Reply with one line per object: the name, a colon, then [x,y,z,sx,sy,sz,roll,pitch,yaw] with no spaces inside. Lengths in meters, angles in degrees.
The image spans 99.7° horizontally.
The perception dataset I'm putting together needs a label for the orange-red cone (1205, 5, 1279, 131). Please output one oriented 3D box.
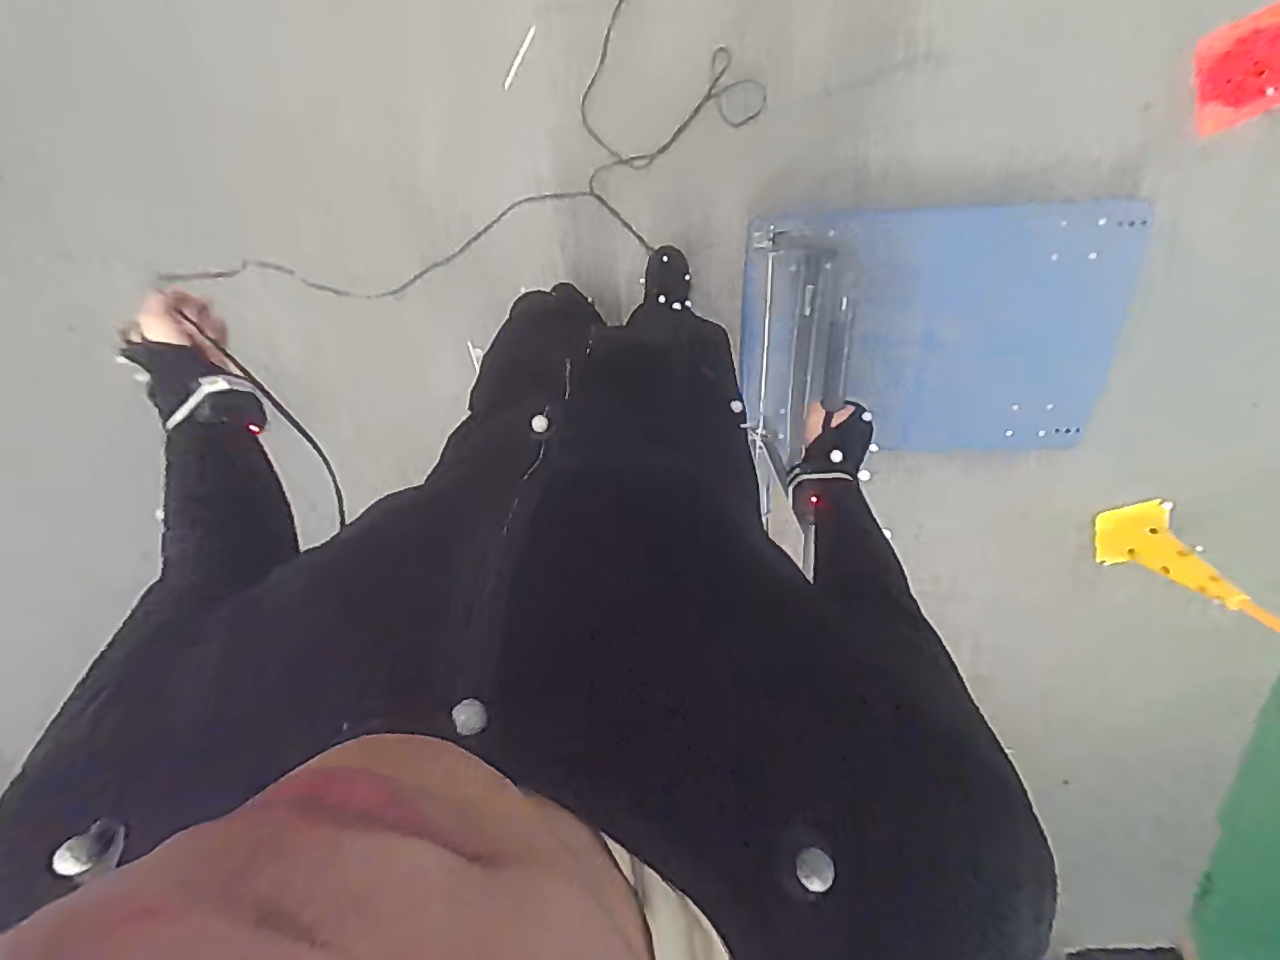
orange-red cone: [1.329,-0.828,1.018,0.198,0.360,0.199,-20,111,12]
